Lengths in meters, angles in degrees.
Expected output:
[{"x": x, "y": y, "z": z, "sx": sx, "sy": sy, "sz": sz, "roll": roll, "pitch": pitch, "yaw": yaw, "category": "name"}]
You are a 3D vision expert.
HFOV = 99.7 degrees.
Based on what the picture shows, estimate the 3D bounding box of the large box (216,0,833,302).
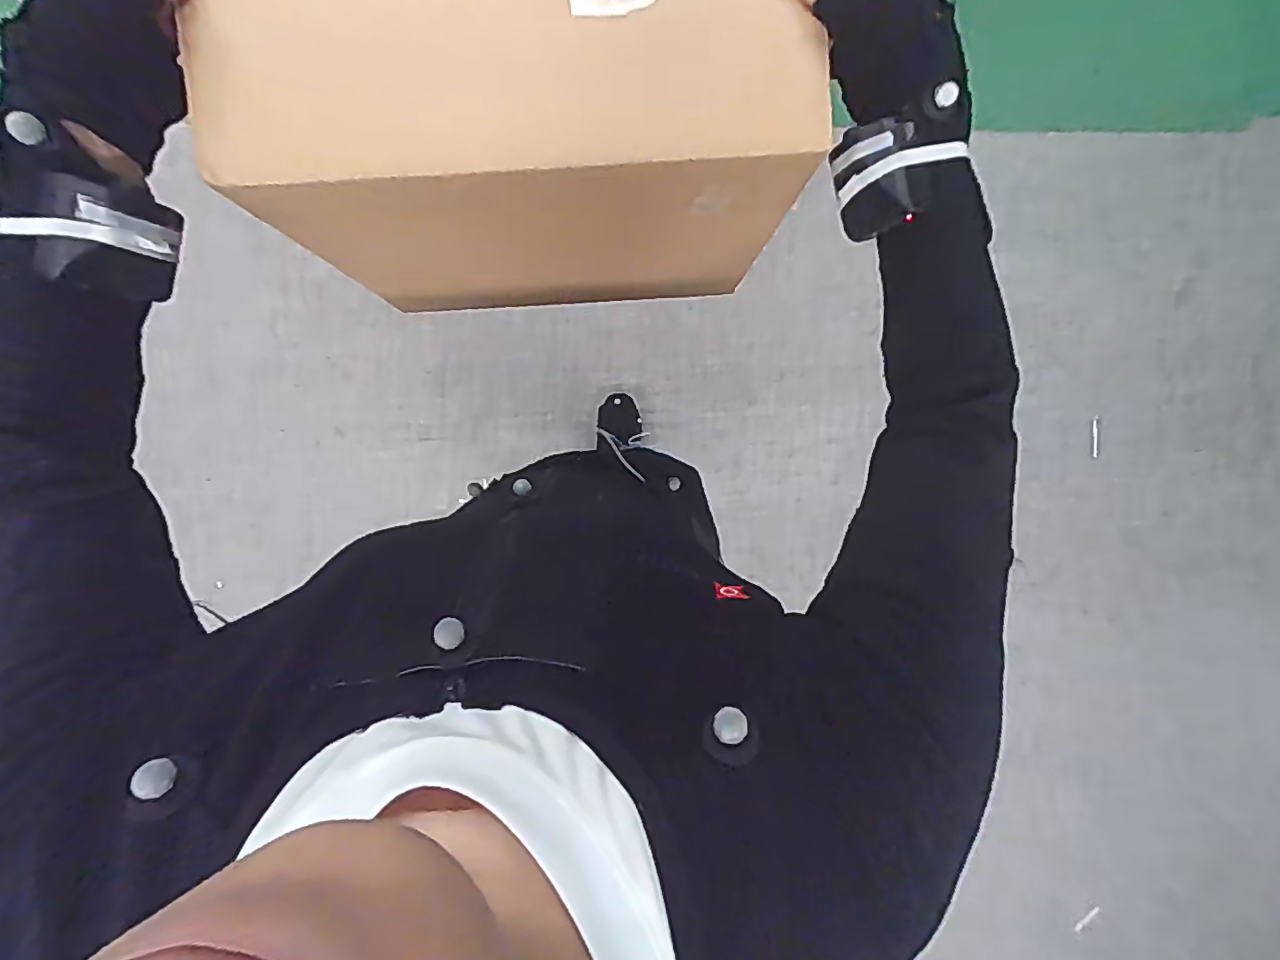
[{"x": -0.085, "y": -0.373, "z": 0.501, "sx": 0.408, "sy": 0.320, "sz": 0.320, "roll": -4, "pitch": 94, "yaw": -2, "category": "large box"}]
